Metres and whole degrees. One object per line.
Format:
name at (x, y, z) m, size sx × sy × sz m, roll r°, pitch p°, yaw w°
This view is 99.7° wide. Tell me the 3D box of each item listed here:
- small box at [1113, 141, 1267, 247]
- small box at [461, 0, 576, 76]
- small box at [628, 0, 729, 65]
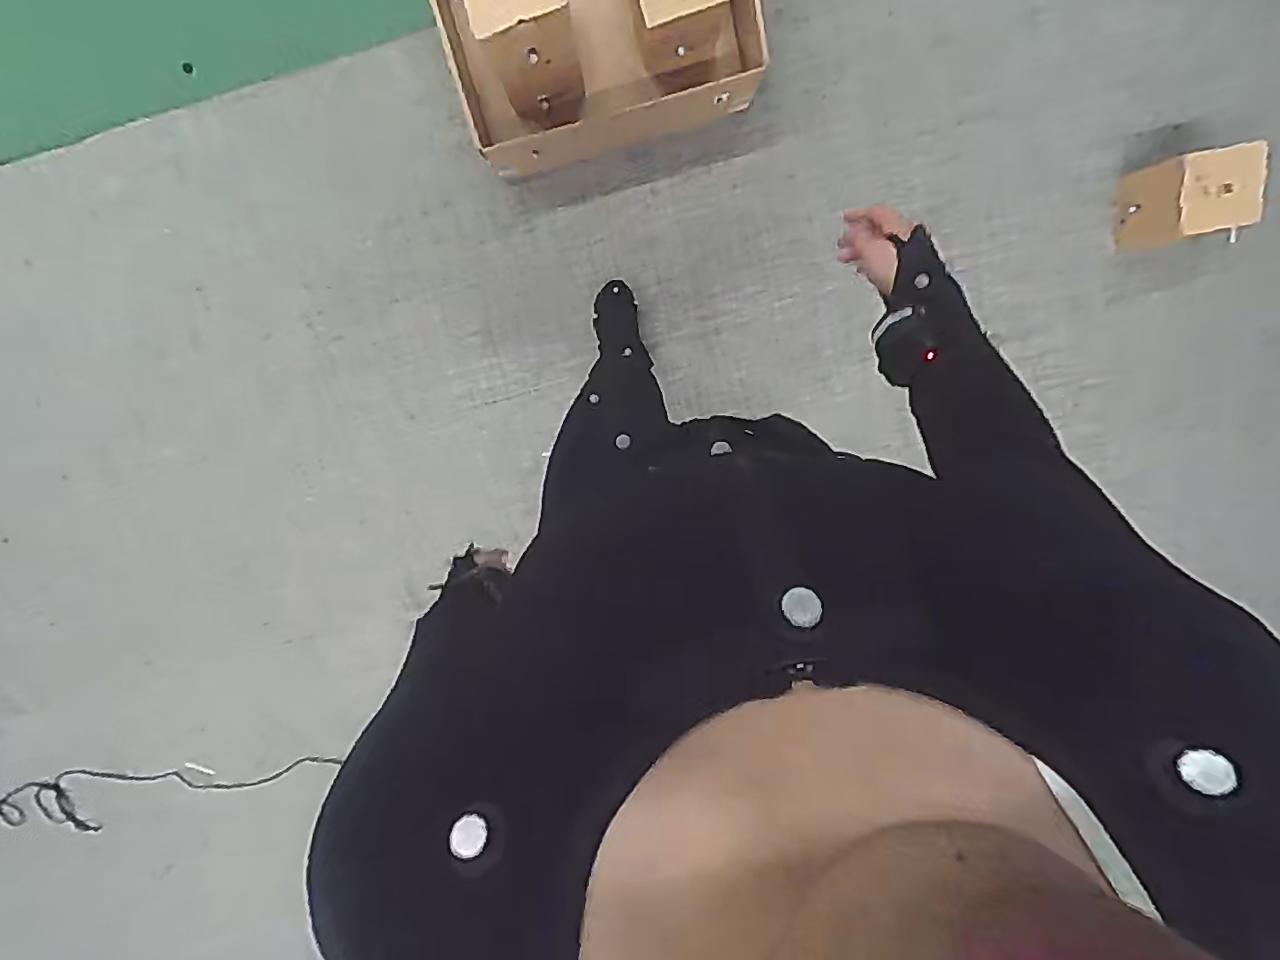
small box at (1.245, -0.644, 1.236) m, size 0.179 × 0.176 × 0.168 m, roll -10°, pitch 104°, yaw 2°
small box at (-0.219, -0.843, 0.939) m, size 0.168 × 0.176 × 0.179 m, roll -17°, pitch 106°, yaw 4°
small box at (0.065, -0.981, 1.075) m, size 0.168 × 0.176 × 0.179 m, roll -16°, pitch 107°, yaw 4°
